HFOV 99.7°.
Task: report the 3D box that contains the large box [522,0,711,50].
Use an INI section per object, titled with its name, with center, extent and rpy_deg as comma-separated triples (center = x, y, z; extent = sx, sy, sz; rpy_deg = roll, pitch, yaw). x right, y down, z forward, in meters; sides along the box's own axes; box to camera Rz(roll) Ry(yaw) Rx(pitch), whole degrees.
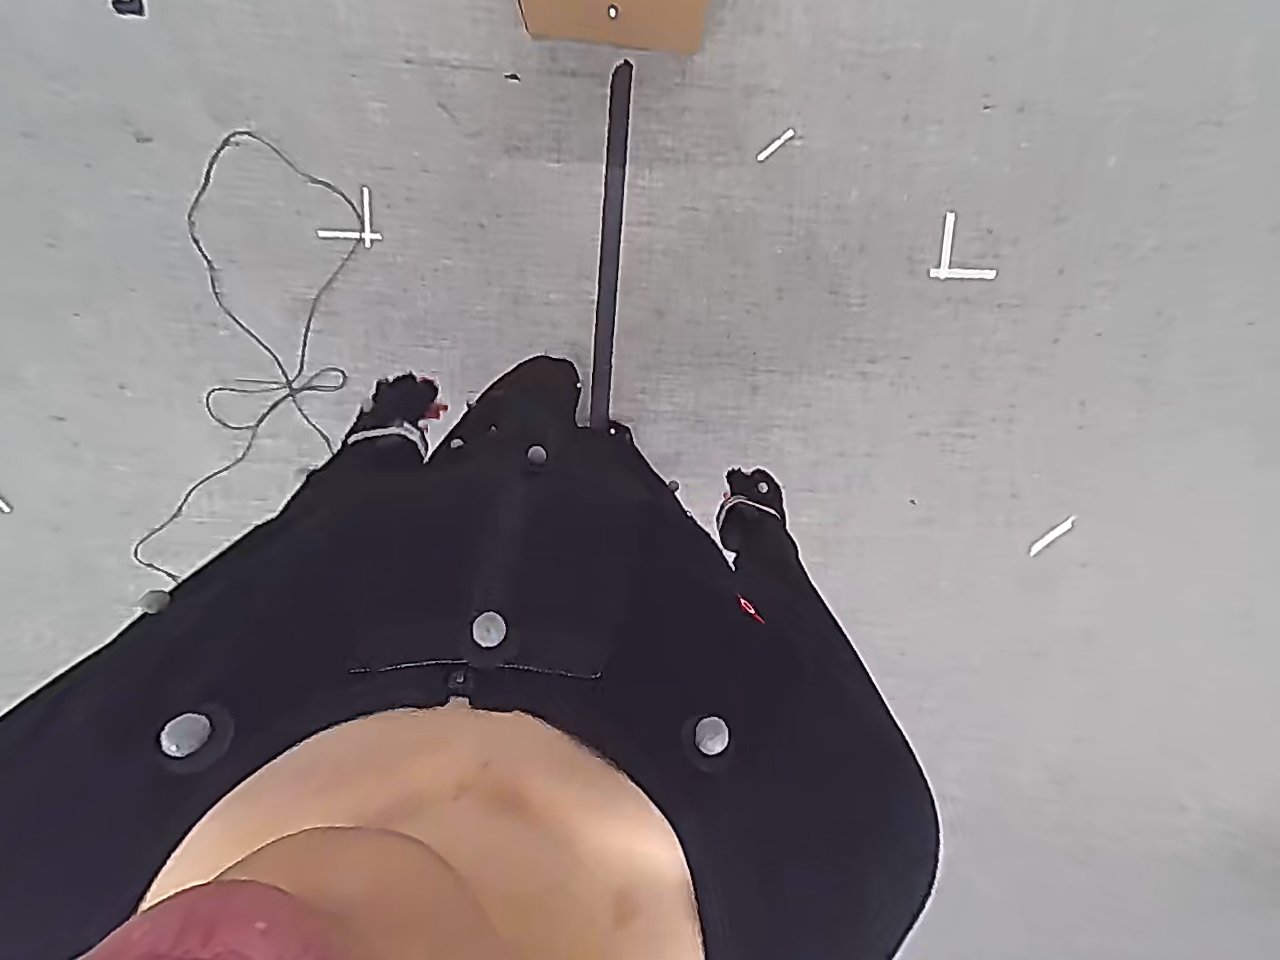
[large box]
center = -0.044, -1.151, 1.110
extent = 0.408, 0.320, 0.320
rpy_deg = 4, 101, -2
